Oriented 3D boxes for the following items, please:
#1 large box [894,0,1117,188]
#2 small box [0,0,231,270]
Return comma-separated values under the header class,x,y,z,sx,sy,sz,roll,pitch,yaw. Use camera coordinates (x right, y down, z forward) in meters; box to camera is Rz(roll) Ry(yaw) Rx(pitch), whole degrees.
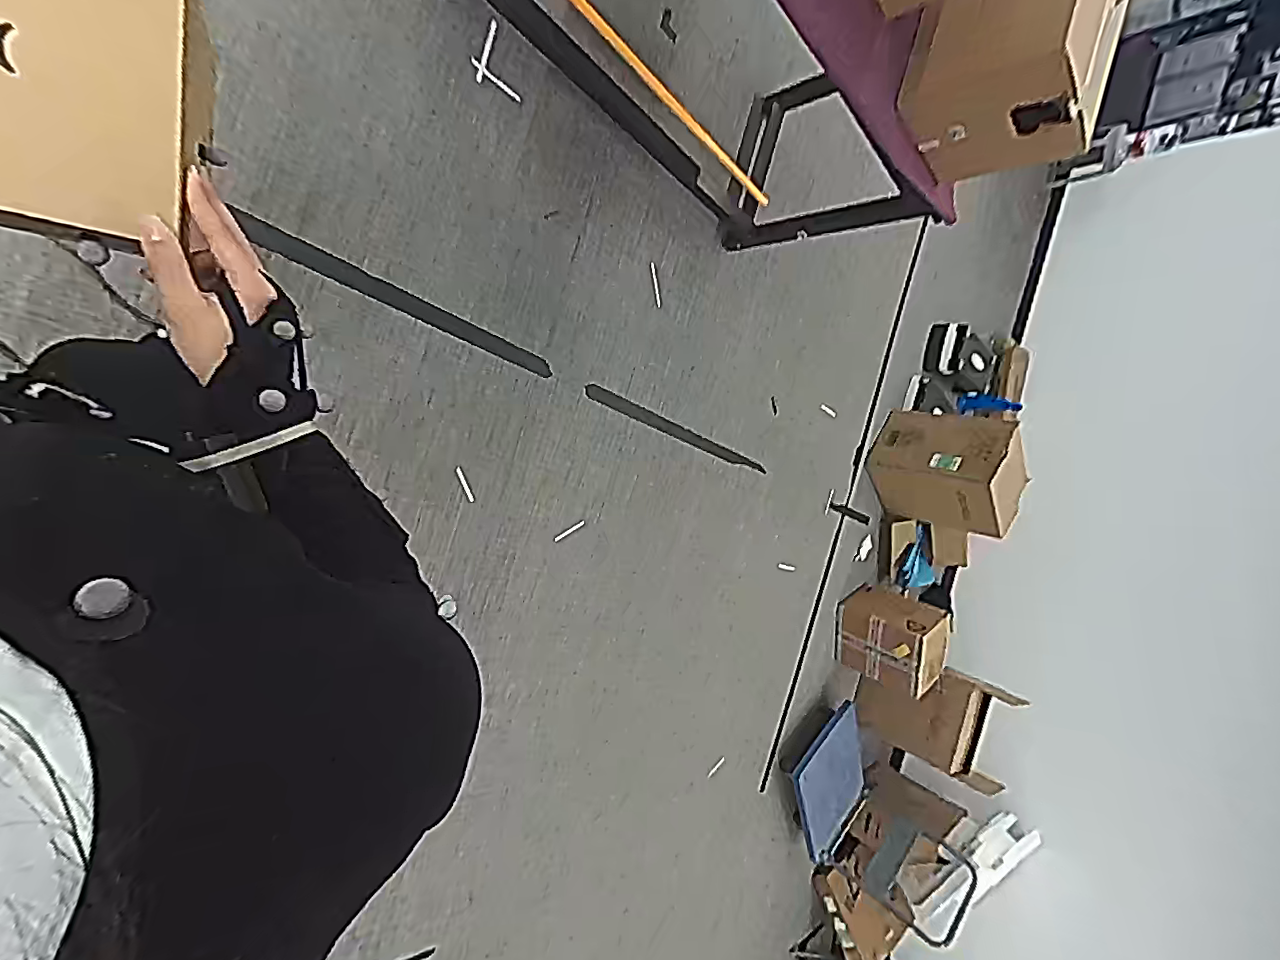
class,x,y,z,sx,sy,sz,roll,pitch,yaw
large box,0.815,-0.956,1.209,0.320,0.320,0.408,18,87,-44
small box,-0.370,-0.238,0.335,0.179,0.176,0.168,5,101,-35
